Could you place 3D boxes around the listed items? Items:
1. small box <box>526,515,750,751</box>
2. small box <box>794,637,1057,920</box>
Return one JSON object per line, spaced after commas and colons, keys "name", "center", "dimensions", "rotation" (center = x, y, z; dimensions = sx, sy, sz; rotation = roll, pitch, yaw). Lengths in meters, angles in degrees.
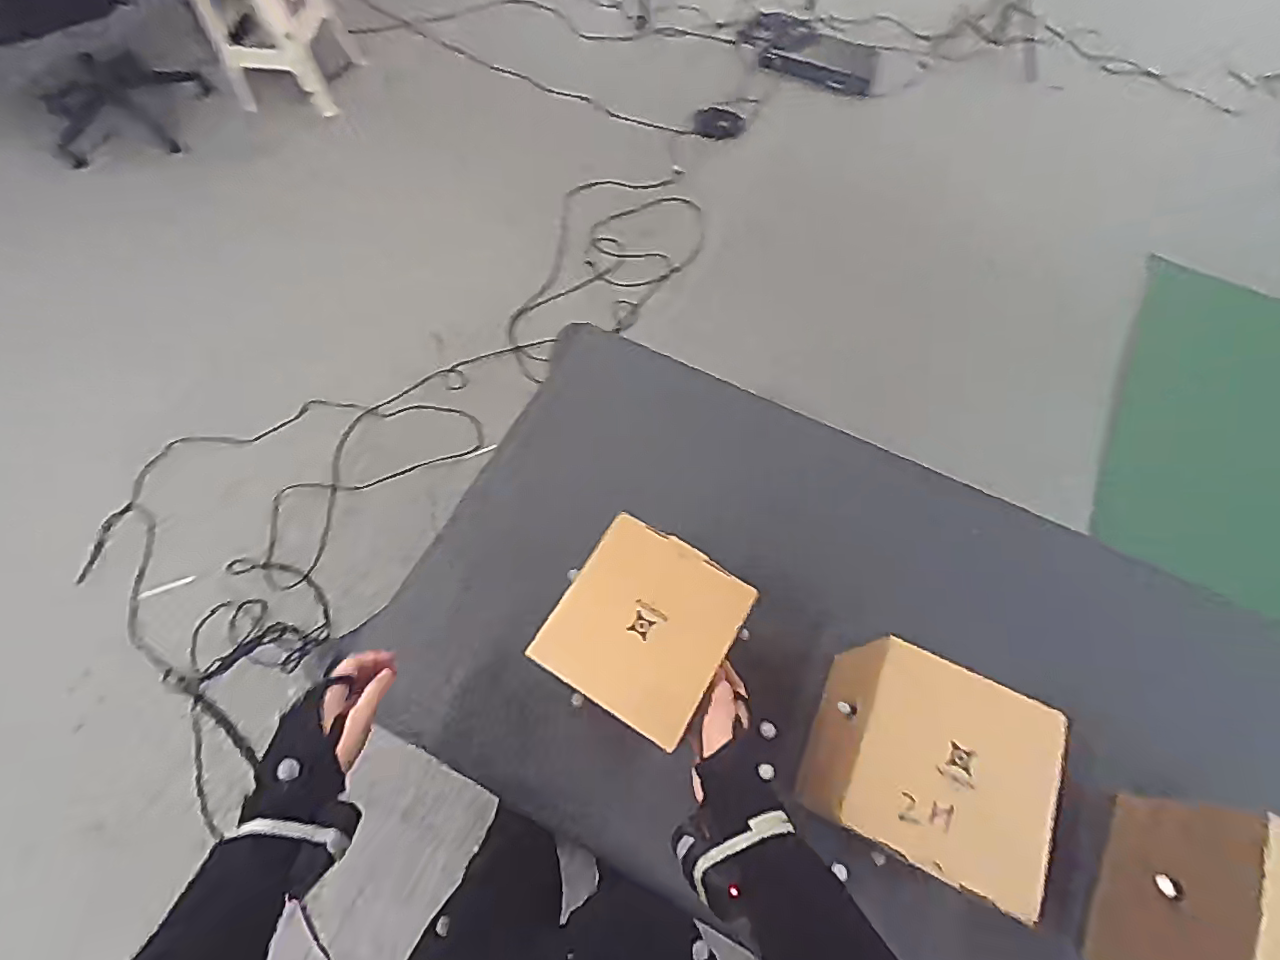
{"name": "small box", "center": [0.002, 0.175, 0.608], "dimensions": [0.168, 0.176, 0.179], "rotation": [29, 68, 12]}
{"name": "small box", "center": [0.277, 0.288, 0.558], "dimensions": [0.168, 0.176, 0.179], "rotation": [24, 68, 10]}
